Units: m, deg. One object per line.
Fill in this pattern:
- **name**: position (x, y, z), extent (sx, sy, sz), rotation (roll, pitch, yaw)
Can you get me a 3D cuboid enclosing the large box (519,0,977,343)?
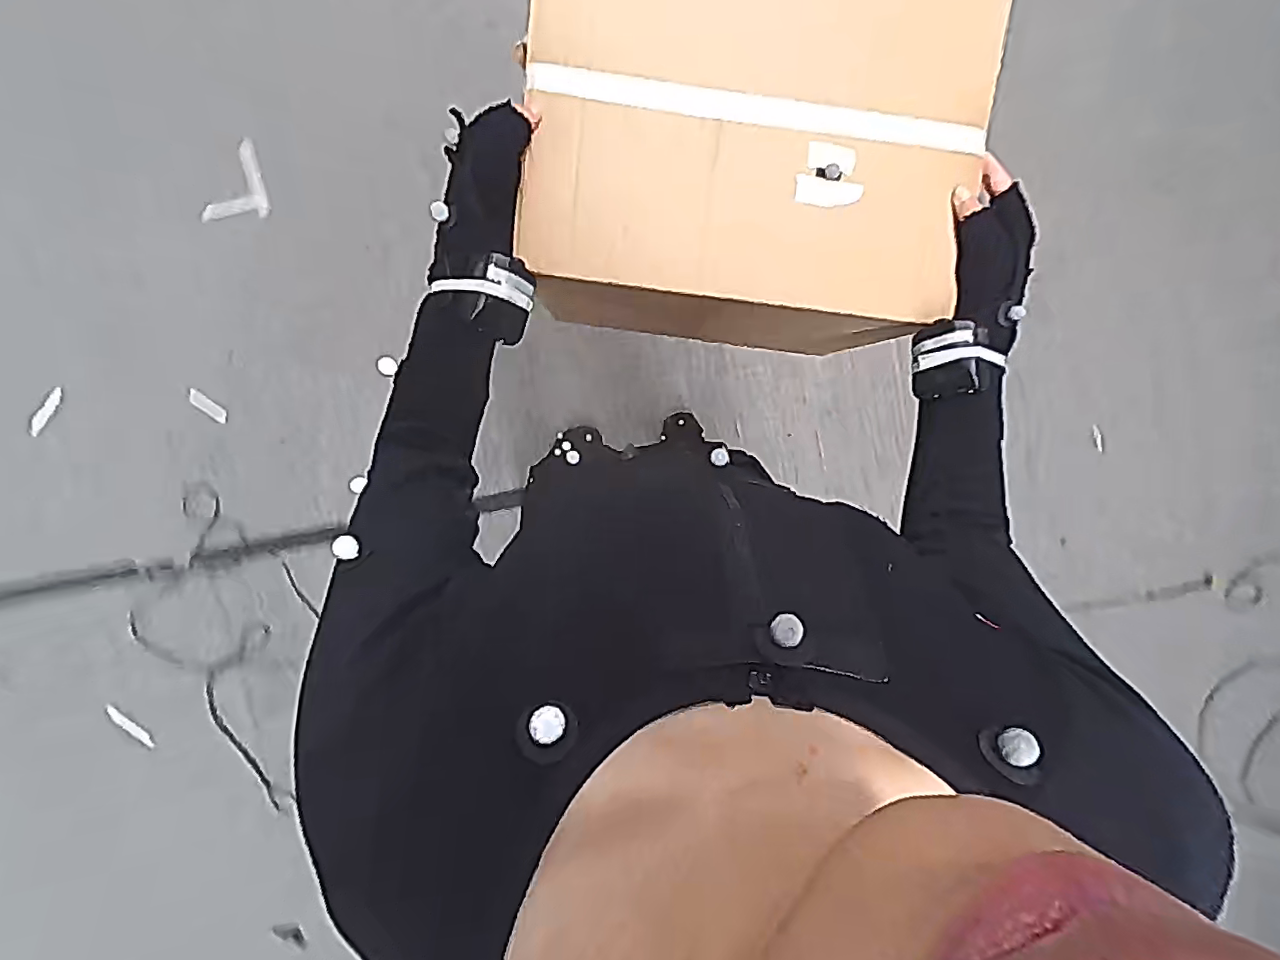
- **large box**: position (0.085, -0.346, 0.632), extent (0.408, 0.320, 0.320), rotation (4, 99, -4)
